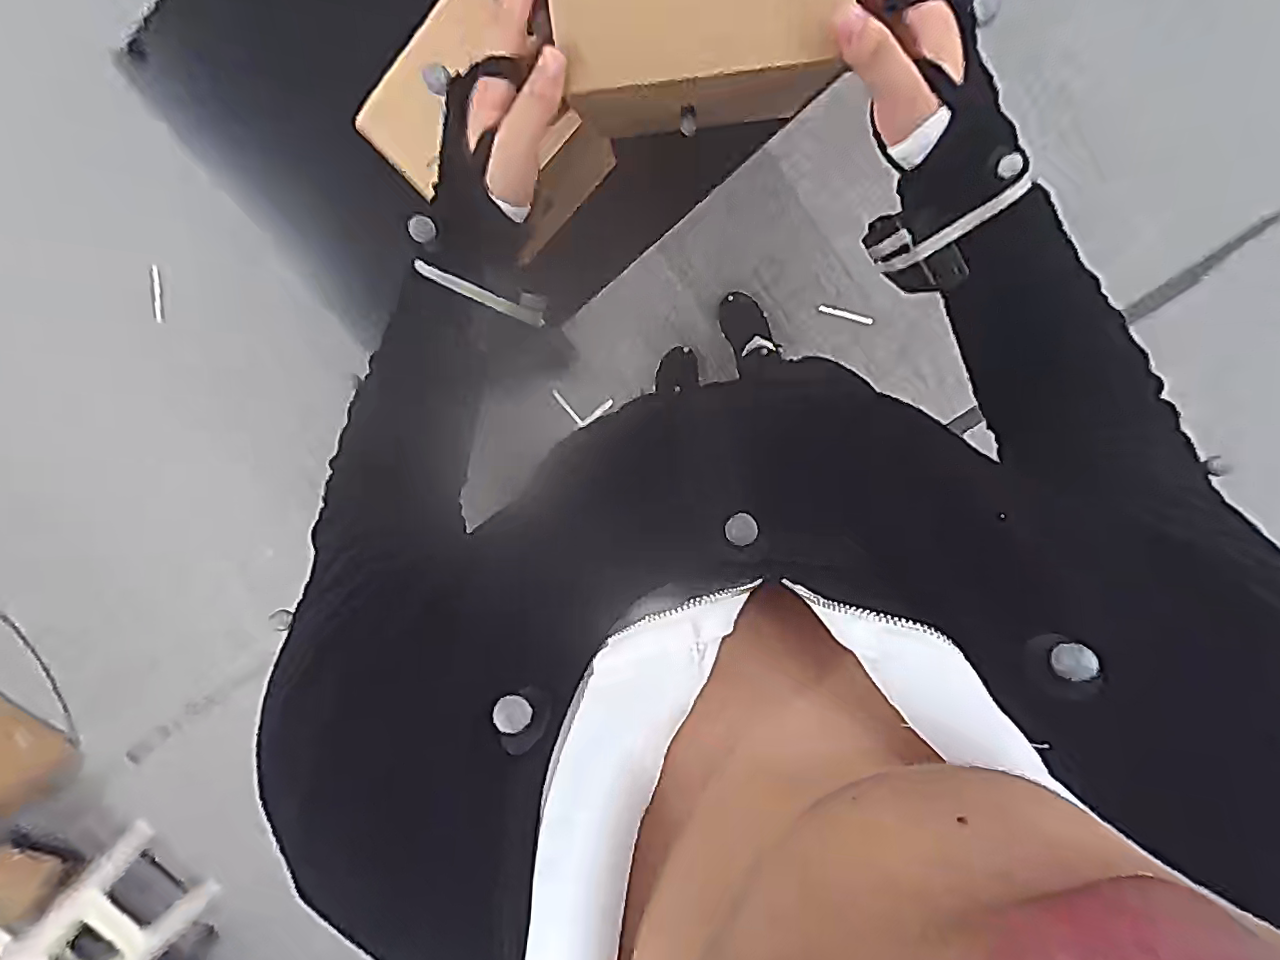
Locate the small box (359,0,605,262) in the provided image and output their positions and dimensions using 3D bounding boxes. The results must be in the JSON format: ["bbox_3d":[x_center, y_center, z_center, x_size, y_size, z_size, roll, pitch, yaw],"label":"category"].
[{"bbox_3d":[-0.154,-0.371,0.597,0.179,0.176,0.168,-43,97,14],"label":"small box"}]
